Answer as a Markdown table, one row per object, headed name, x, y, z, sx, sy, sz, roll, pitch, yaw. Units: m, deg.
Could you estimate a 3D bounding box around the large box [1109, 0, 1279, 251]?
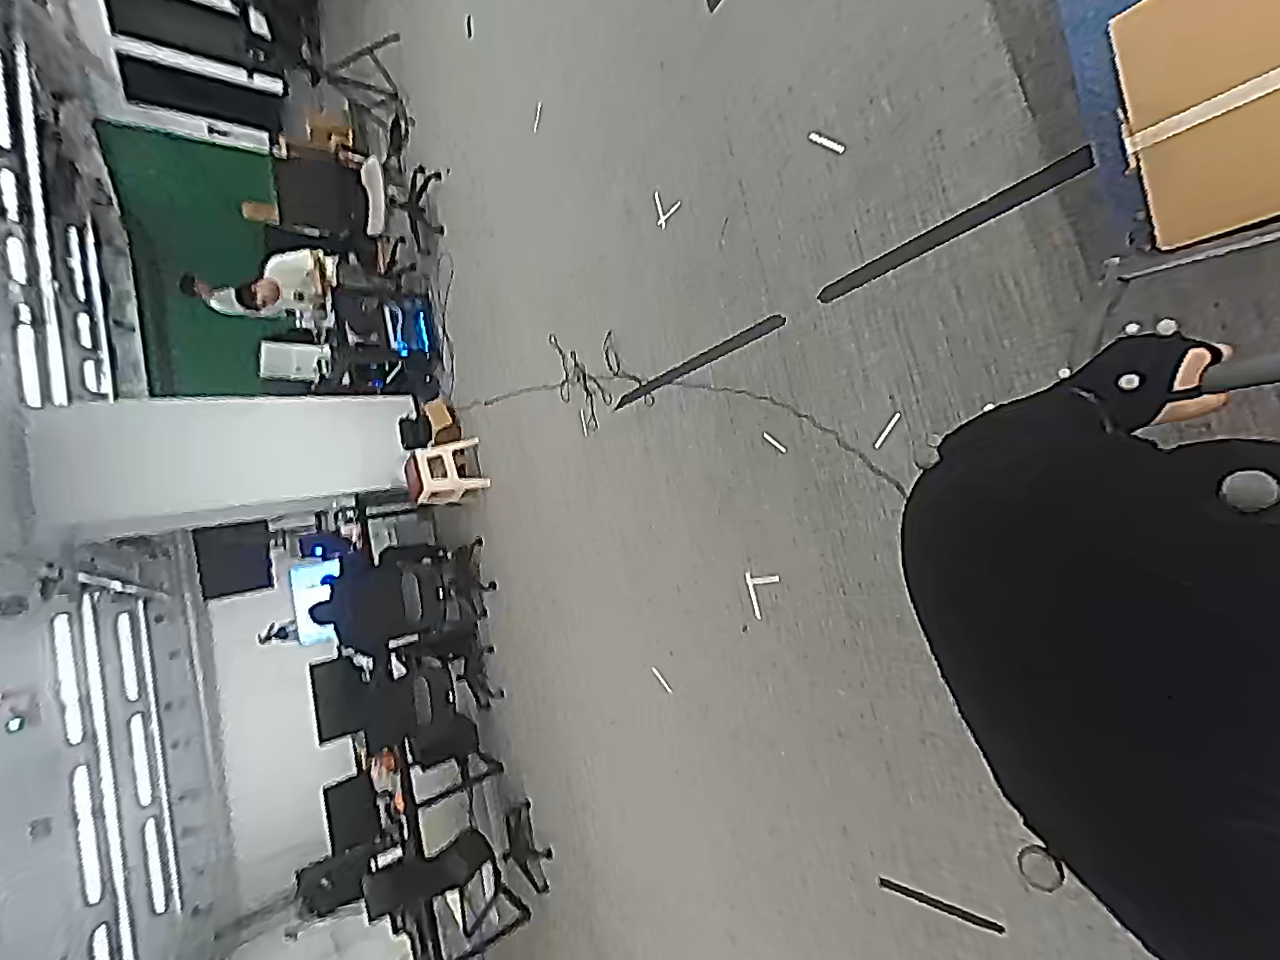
| name | x | y | z | sx | sy | sz | roll | pitch | yaw |
| --- | --- | --- | --- | --- | --- | --- | --- | --- | --- |
| large box | 0.890 | -0.537 | 0.657 | 0.408 | 0.320 | 0.320 | -12 | 106 | 53 |
